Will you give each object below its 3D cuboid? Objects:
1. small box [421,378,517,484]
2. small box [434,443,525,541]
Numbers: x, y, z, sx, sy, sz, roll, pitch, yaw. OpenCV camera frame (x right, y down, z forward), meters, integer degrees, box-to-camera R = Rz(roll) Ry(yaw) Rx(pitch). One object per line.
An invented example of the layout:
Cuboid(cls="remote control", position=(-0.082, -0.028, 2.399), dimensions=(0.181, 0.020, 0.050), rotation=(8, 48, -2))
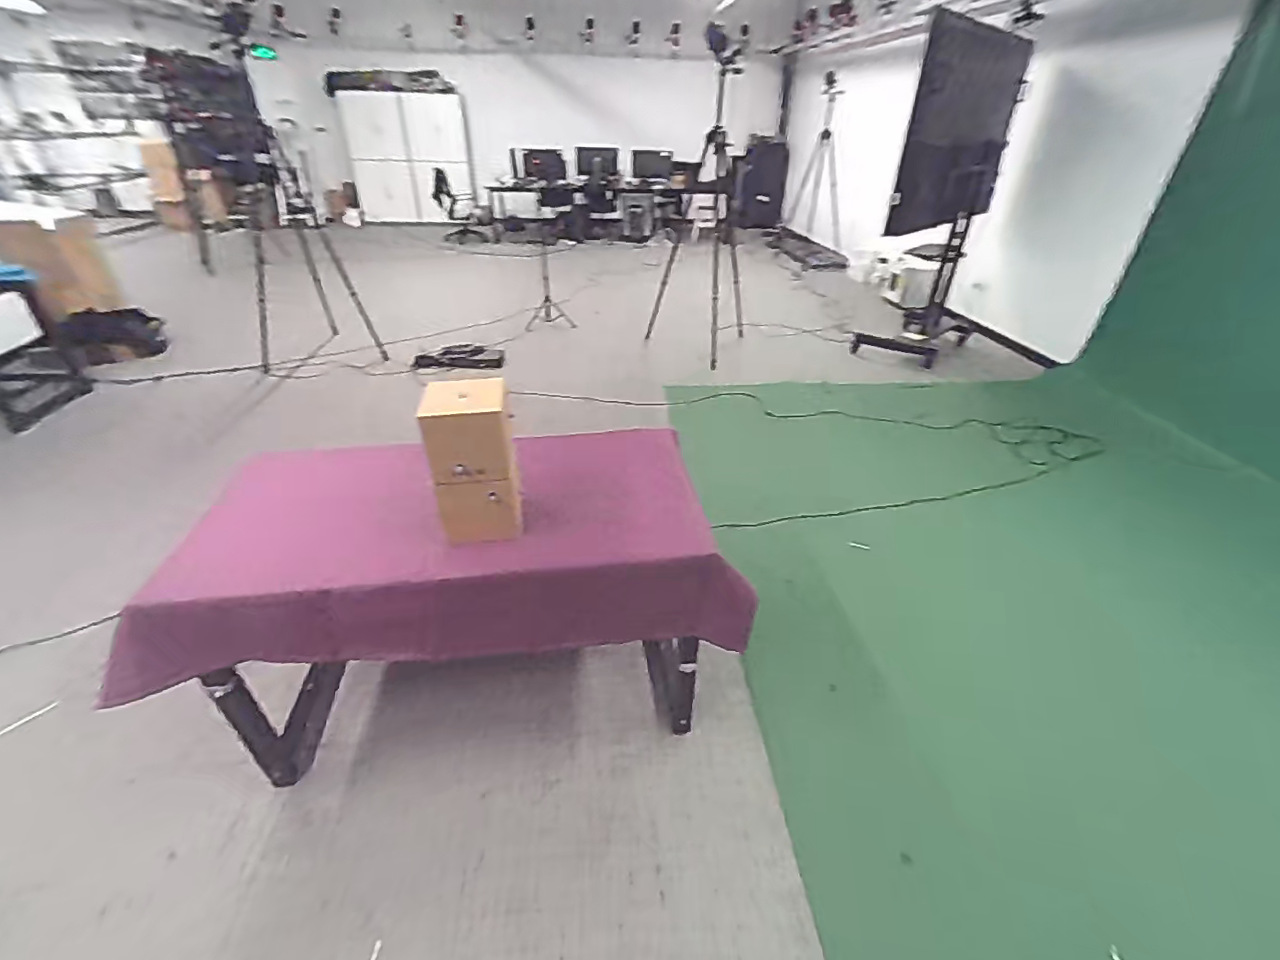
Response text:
Cuboid(cls="small box", position=(-0.365, -0.109, 1.186), dimensions=(0.168, 0.176, 0.179), rotation=(-5, 35, -8))
Cuboid(cls="small box", position=(-0.366, 0.028, 1.274), dimensions=(0.179, 0.176, 0.168), rotation=(-4, 33, -7))
